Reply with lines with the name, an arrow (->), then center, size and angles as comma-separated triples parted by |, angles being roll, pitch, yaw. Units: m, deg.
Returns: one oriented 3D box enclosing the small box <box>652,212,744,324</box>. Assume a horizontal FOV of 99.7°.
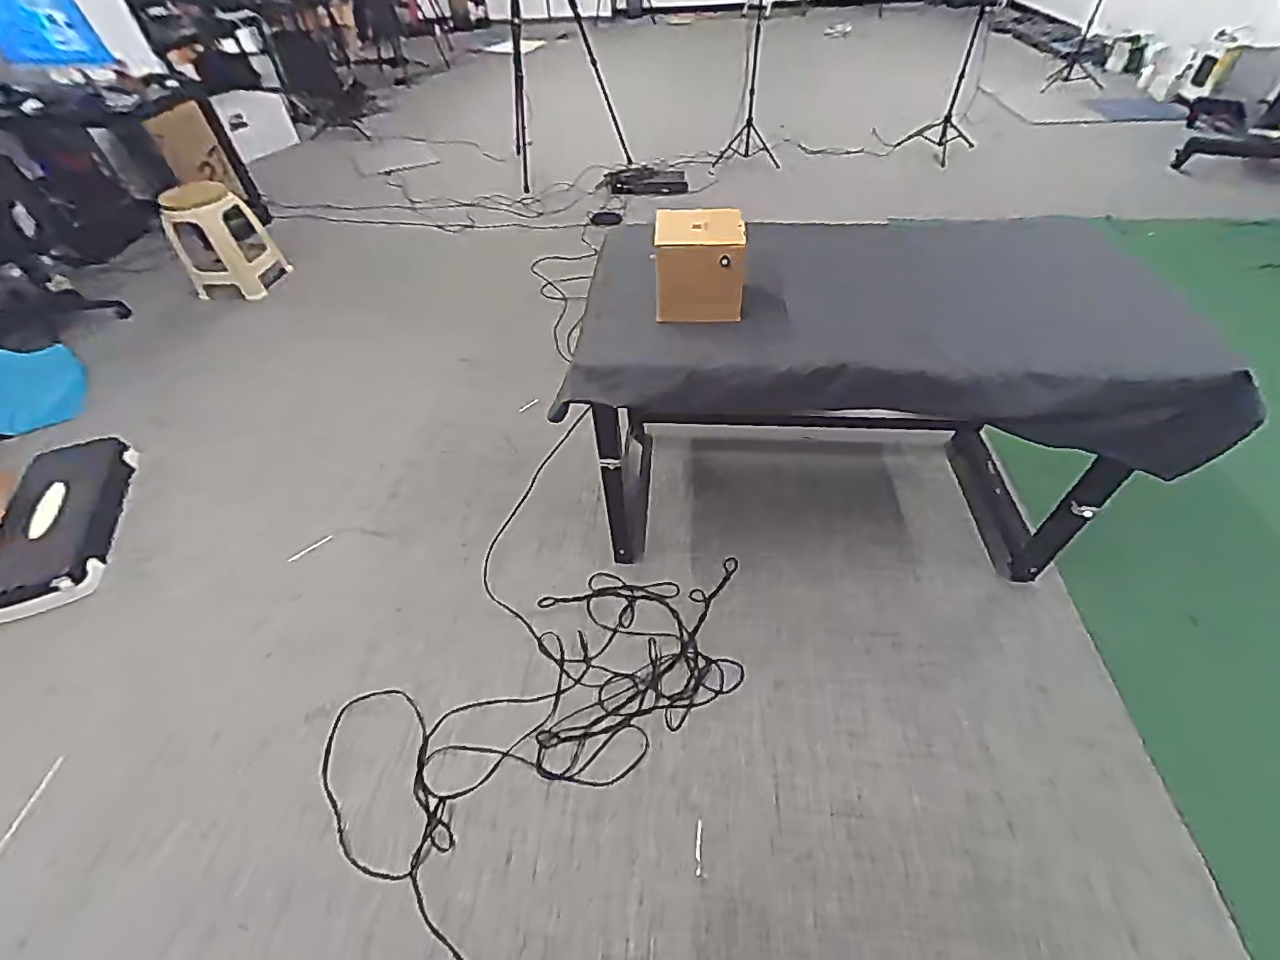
small box -> 0.116, -0.439, 1.124 | 0.179, 0.176, 0.168 | 1, 48, 3
